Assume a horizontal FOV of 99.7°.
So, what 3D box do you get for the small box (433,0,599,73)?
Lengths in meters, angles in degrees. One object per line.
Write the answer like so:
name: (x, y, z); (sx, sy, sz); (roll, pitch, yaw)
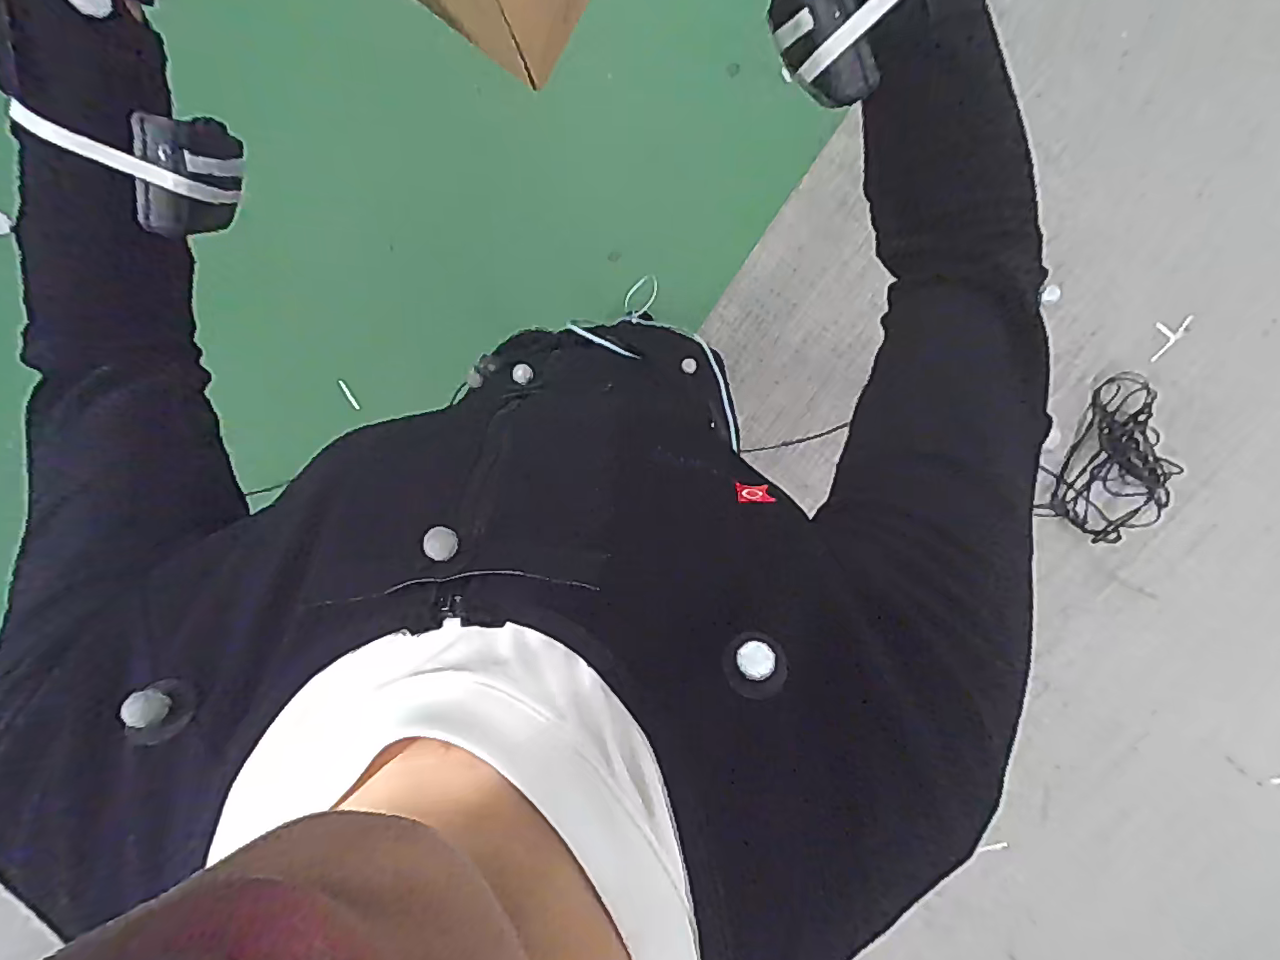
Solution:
small box: (-0.092, -0.375, 0.291); (0.179, 0.176, 0.168); (33, 104, -11)
